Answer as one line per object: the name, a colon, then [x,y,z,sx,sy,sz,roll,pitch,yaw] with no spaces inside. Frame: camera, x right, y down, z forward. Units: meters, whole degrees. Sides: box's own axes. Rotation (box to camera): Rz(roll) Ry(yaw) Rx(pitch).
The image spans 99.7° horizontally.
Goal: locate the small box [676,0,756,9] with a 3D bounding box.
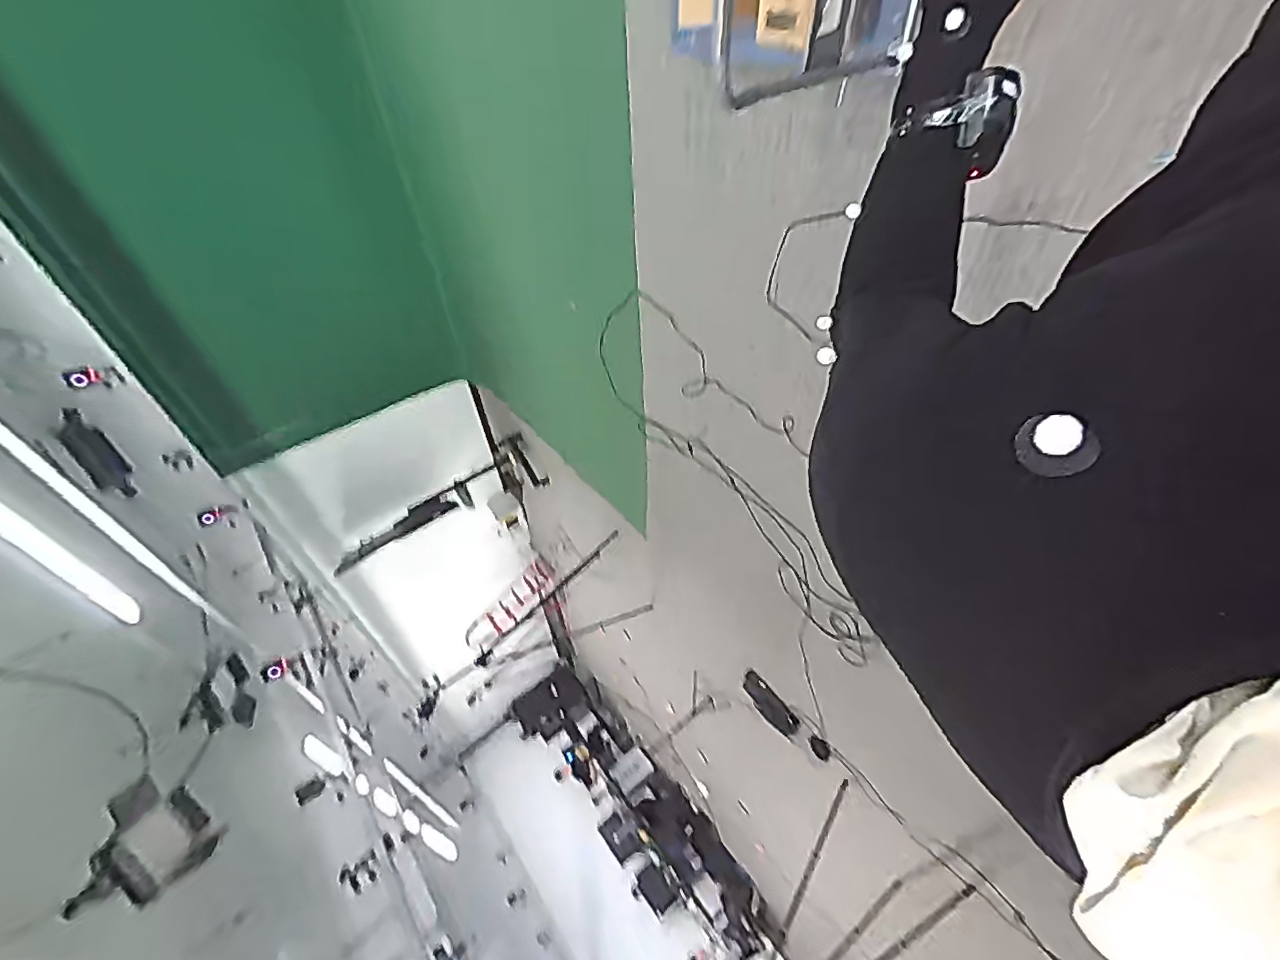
small box: [0.205,-1.298,1.351,0.179,0.176,0.168,37,148,37]
